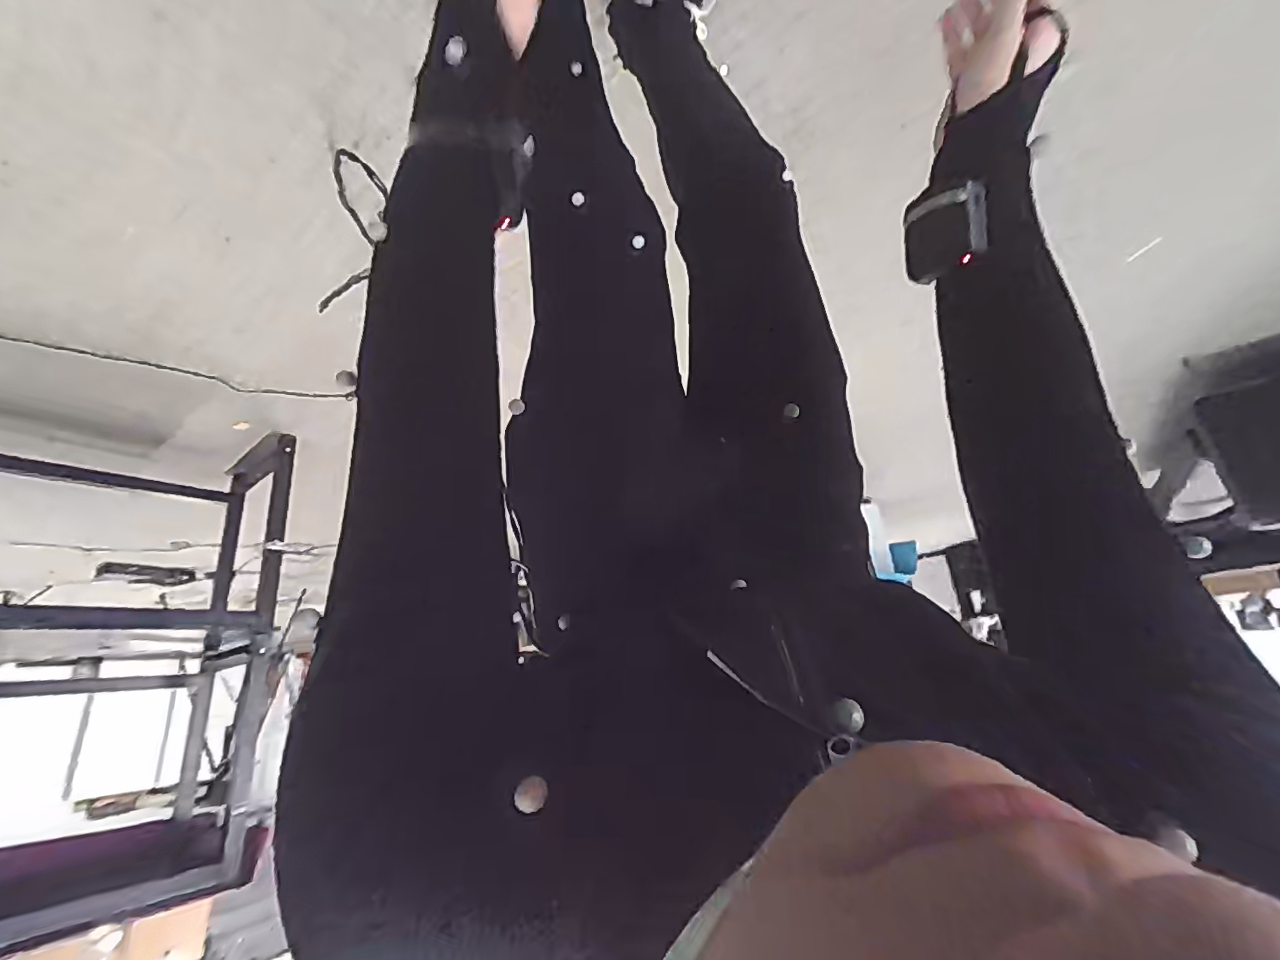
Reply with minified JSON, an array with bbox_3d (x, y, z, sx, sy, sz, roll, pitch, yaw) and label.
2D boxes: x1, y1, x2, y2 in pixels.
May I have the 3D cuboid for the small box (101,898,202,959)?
[{"bbox_3d":[-1.355,1.286,1.497,0.168,0.176,0.179,-21,153,34],"label":"small box"}]

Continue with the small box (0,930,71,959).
[{"bbox_3d":[-1.513,1.225,1.297,0.179,0.176,0.168,-19,155,33],"label":"small box"}]
